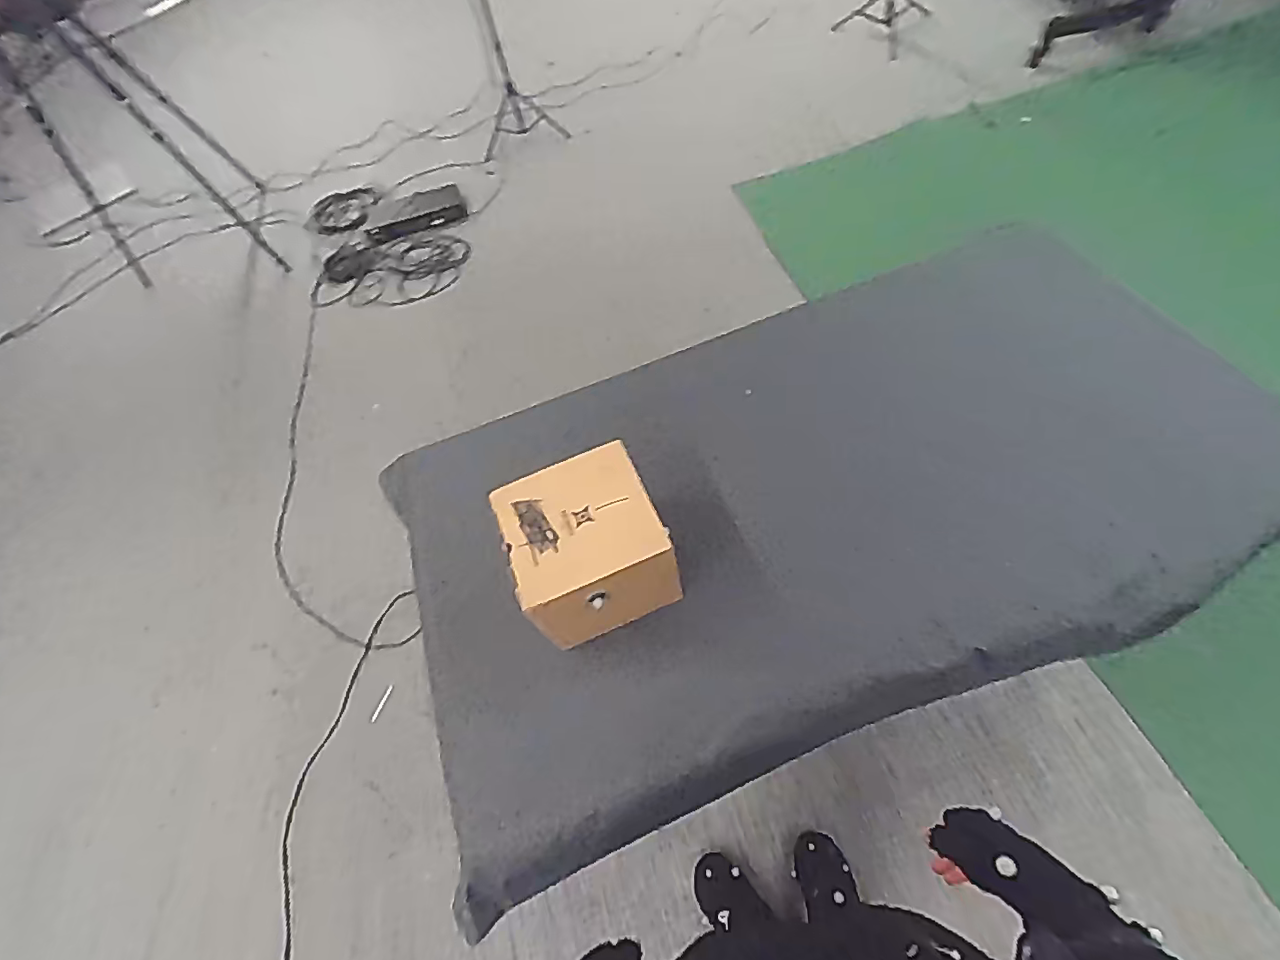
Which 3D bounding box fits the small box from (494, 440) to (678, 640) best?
[{"bbox_3d":[-0.062,0.084,0.697,0.179,0.176,0.168,-22,59,-6],"label":"small box"}]
